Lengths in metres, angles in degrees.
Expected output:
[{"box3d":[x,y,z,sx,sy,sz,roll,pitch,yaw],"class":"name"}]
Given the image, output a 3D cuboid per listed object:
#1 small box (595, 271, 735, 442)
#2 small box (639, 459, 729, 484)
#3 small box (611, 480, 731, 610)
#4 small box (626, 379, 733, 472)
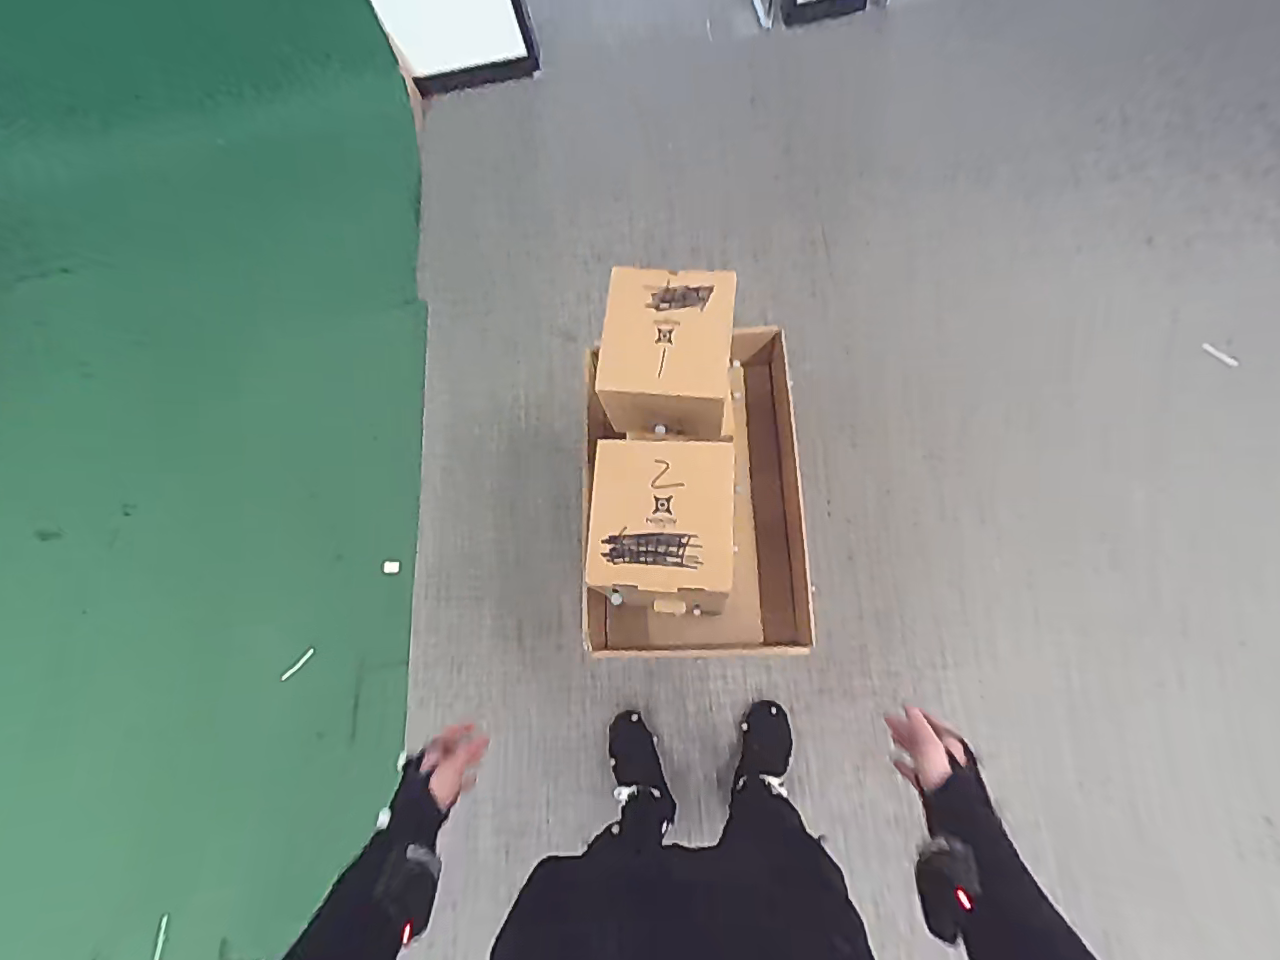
[{"box3d":[0.041,-0.168,0.766,0.168,0.176,0.179,5,77,9],"class":"small box"},{"box3d":[0.086,-0.083,1.077,0.168,0.176,0.179,-4,75,7],"class":"small box"},{"box3d":[0.056,0.109,0.851,0.168,0.176,0.179,2,73,7],"class":"small box"},{"box3d":[0.065,-0.122,0.922,0.168,0.176,0.179,-4,76,5],"class":"small box"}]
